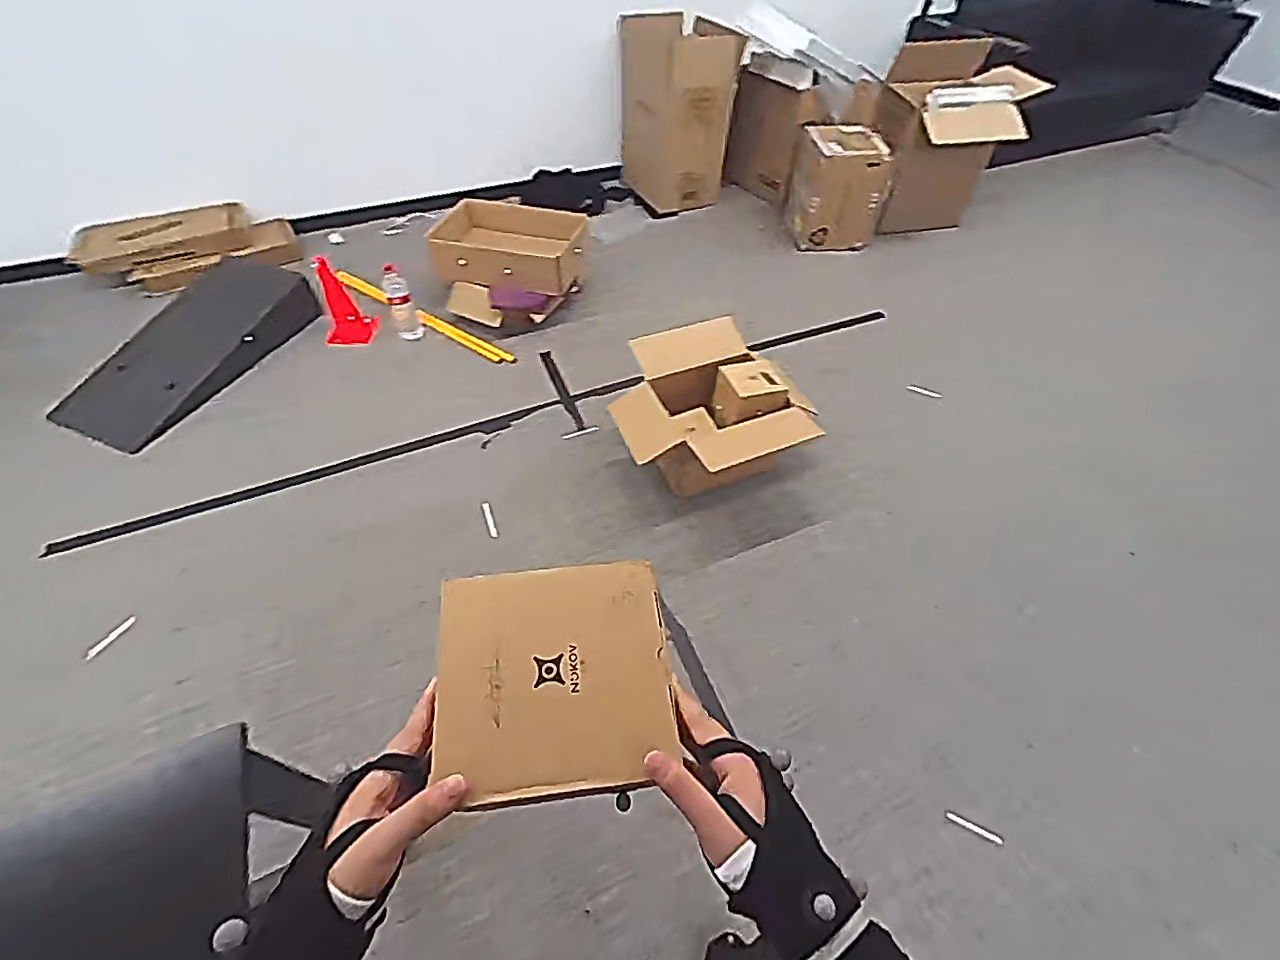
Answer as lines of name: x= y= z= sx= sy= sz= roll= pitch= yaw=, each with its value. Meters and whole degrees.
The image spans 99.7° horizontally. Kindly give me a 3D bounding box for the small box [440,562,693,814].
small box: x=-0.062 y=0.187 z=0.479 sx=0.179 sy=0.176 sz=0.168 roll=-6 pitch=58 yaw=-5
